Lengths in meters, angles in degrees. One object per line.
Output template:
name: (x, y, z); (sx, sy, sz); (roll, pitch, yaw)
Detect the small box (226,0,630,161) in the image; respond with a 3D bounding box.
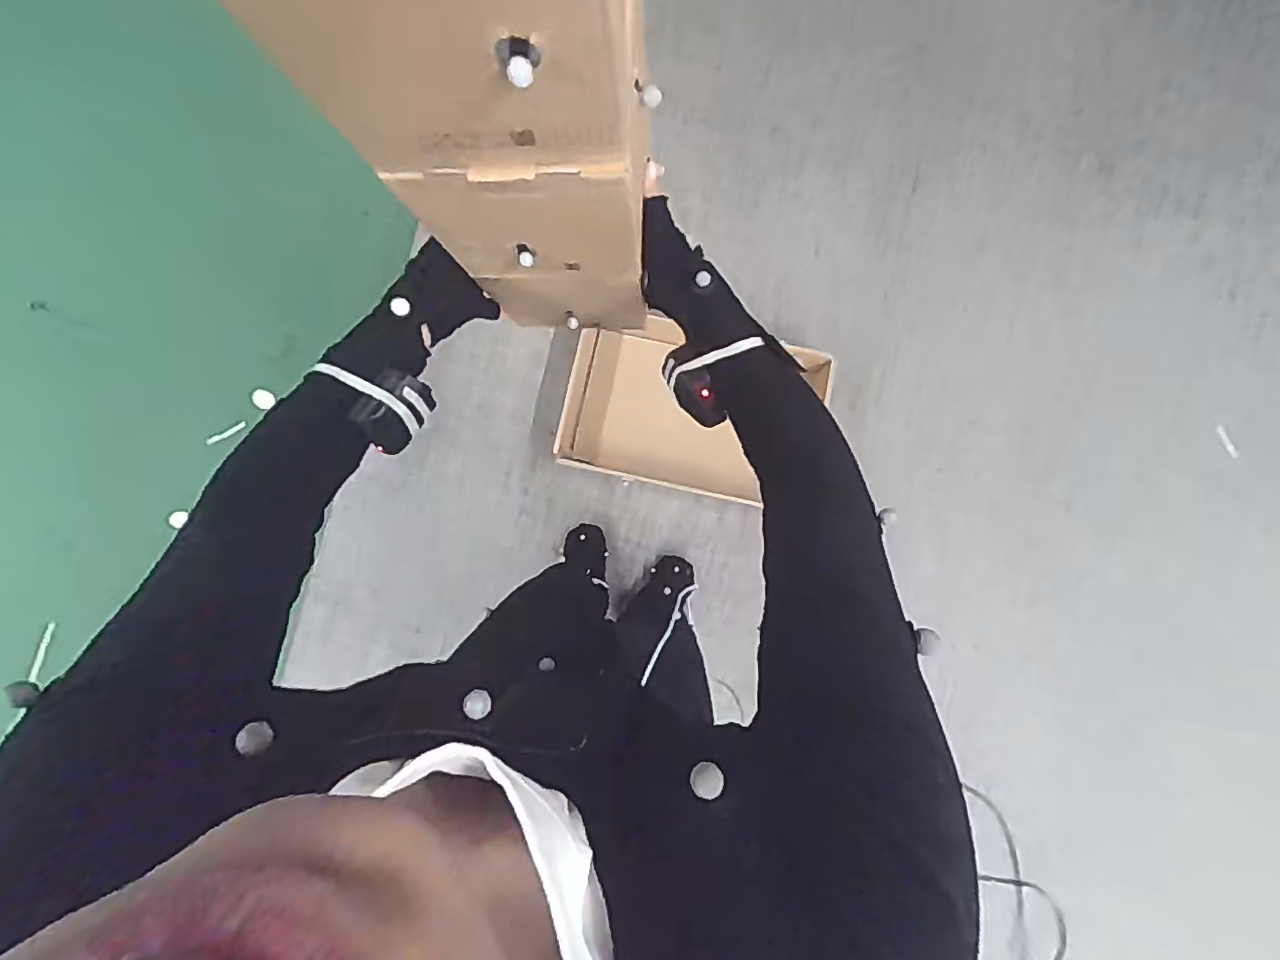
small box: (-0.091, -0.280, 0.258); (0.168, 0.176, 0.179); (0, 89, 2)

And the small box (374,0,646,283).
small box: (-0.081, -0.273, 0.421); (0.168, 0.176, 0.179); (2, 90, 2)

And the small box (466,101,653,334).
small box: (-0.073, -0.272, 0.584); (0.168, 0.176, 0.179); (3, 90, 3)
